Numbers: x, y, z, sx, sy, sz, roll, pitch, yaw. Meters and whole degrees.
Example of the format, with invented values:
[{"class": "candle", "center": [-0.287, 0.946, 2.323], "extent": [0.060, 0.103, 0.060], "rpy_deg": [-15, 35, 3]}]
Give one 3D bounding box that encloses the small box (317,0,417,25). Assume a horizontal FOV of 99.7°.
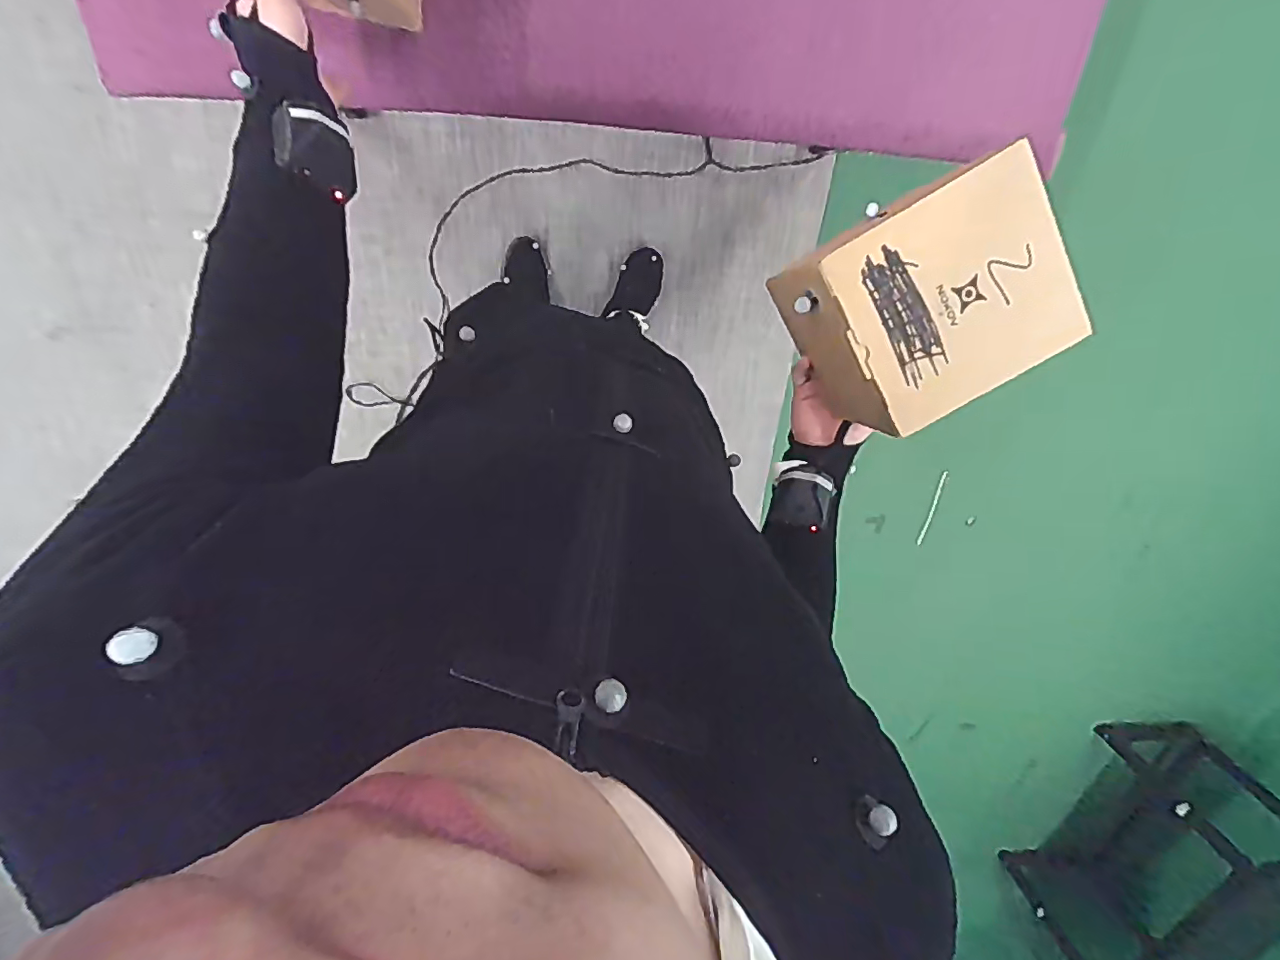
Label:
[{"class": "small box", "center": [-0.307, -0.567, 0.500], "extent": [0.168, 0.176, 0.179], "rpy_deg": [6, 114, -12]}]
